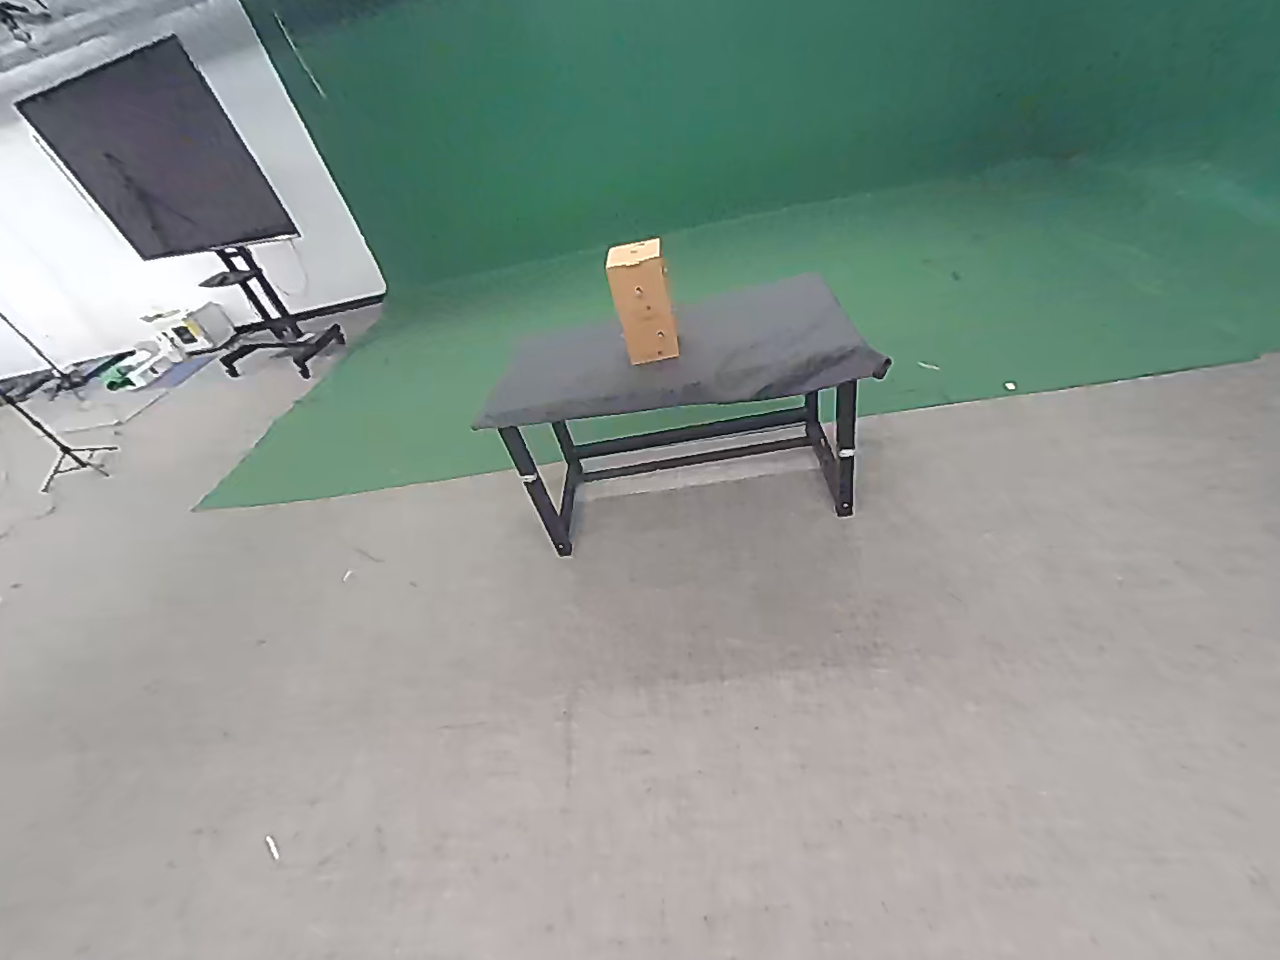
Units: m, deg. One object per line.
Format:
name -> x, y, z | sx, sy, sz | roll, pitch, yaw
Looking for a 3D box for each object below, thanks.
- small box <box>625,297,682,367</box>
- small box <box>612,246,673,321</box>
small box -> 0.049, -0.494, 1.823 | 0.168, 0.176, 0.179 | -8, 38, 8
small box -> 0.013, -0.620, 1.724 | 0.168, 0.176, 0.179 | -7, 41, 9
